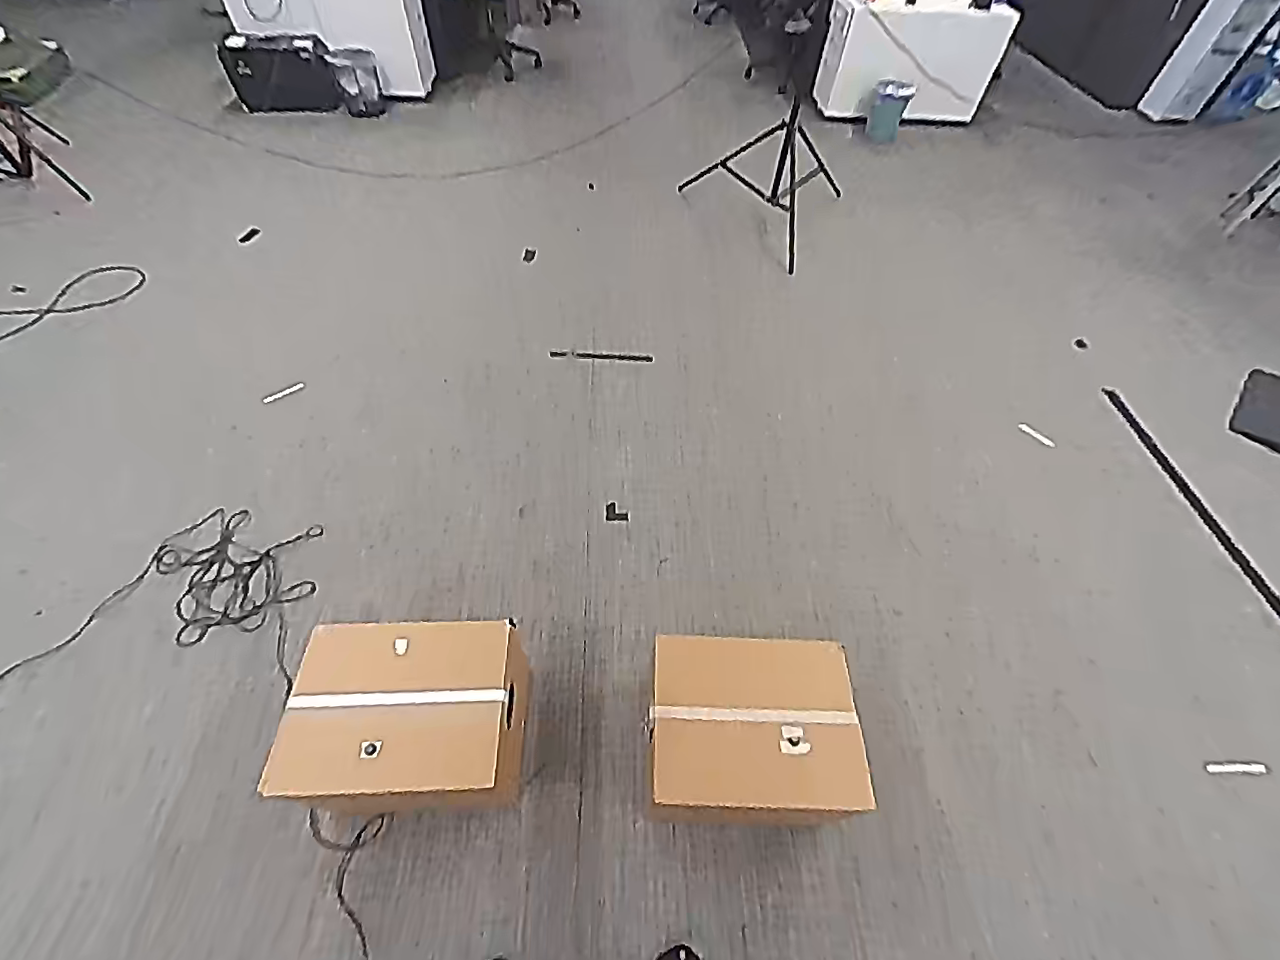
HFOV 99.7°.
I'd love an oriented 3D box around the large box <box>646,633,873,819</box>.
[{"bbox_3d":[0.223,0.549,1.188,0.408,0.320,0.320,3,53,-2],"label":"large box"}]
